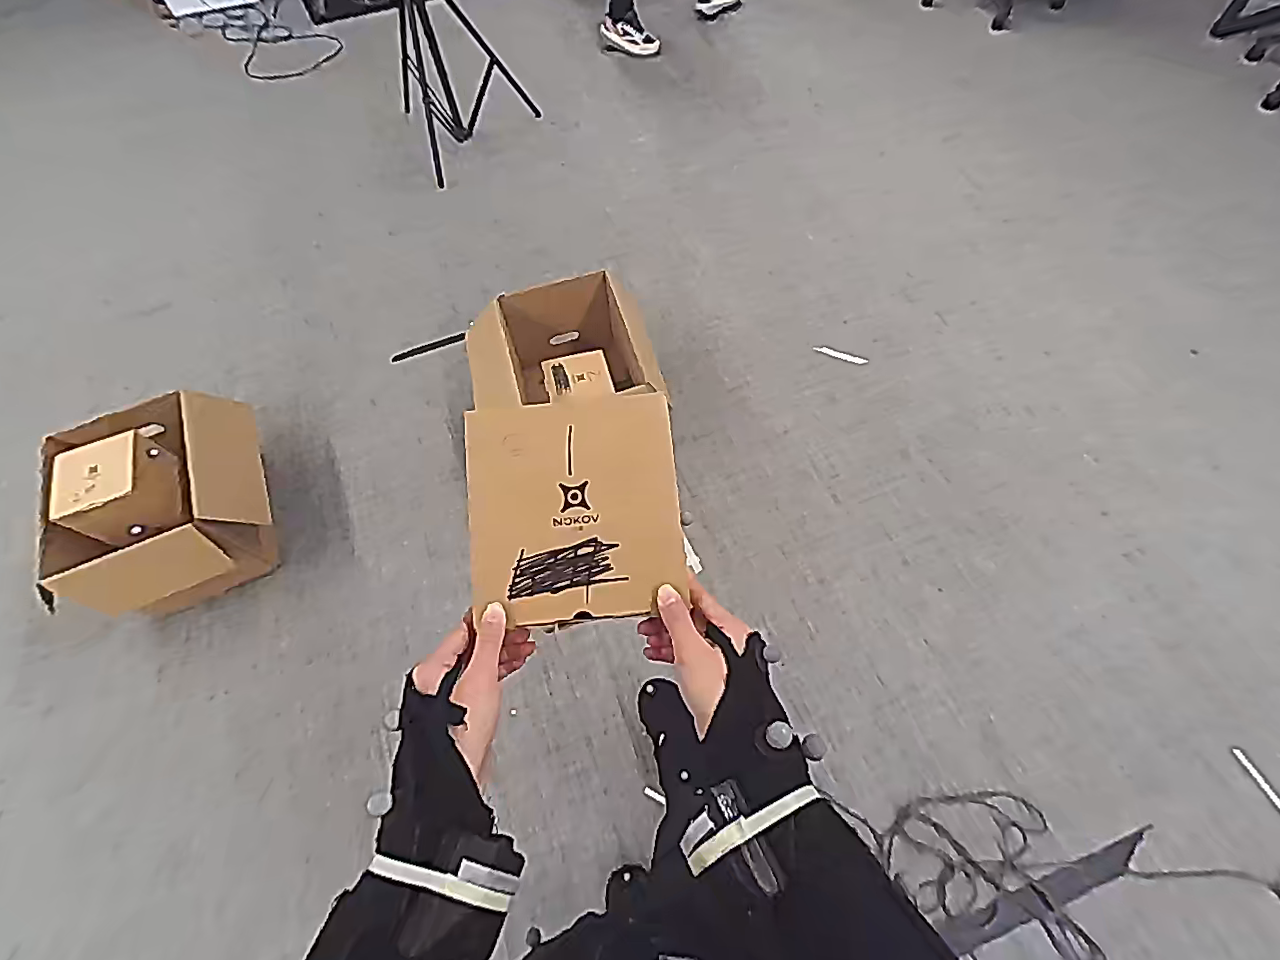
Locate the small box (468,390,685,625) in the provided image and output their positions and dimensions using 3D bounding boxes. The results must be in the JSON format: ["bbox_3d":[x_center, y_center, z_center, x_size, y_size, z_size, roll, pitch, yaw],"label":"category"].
[{"bbox_3d":[-0.051,0.033,0.503,0.168,0.176,0.179,-6,78,-1],"label":"small box"}]

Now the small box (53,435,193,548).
[{"bbox_3d":[-1.177,0.031,1.246,0.168,0.176,0.179,-22,64,-8],"label":"small box"}]
